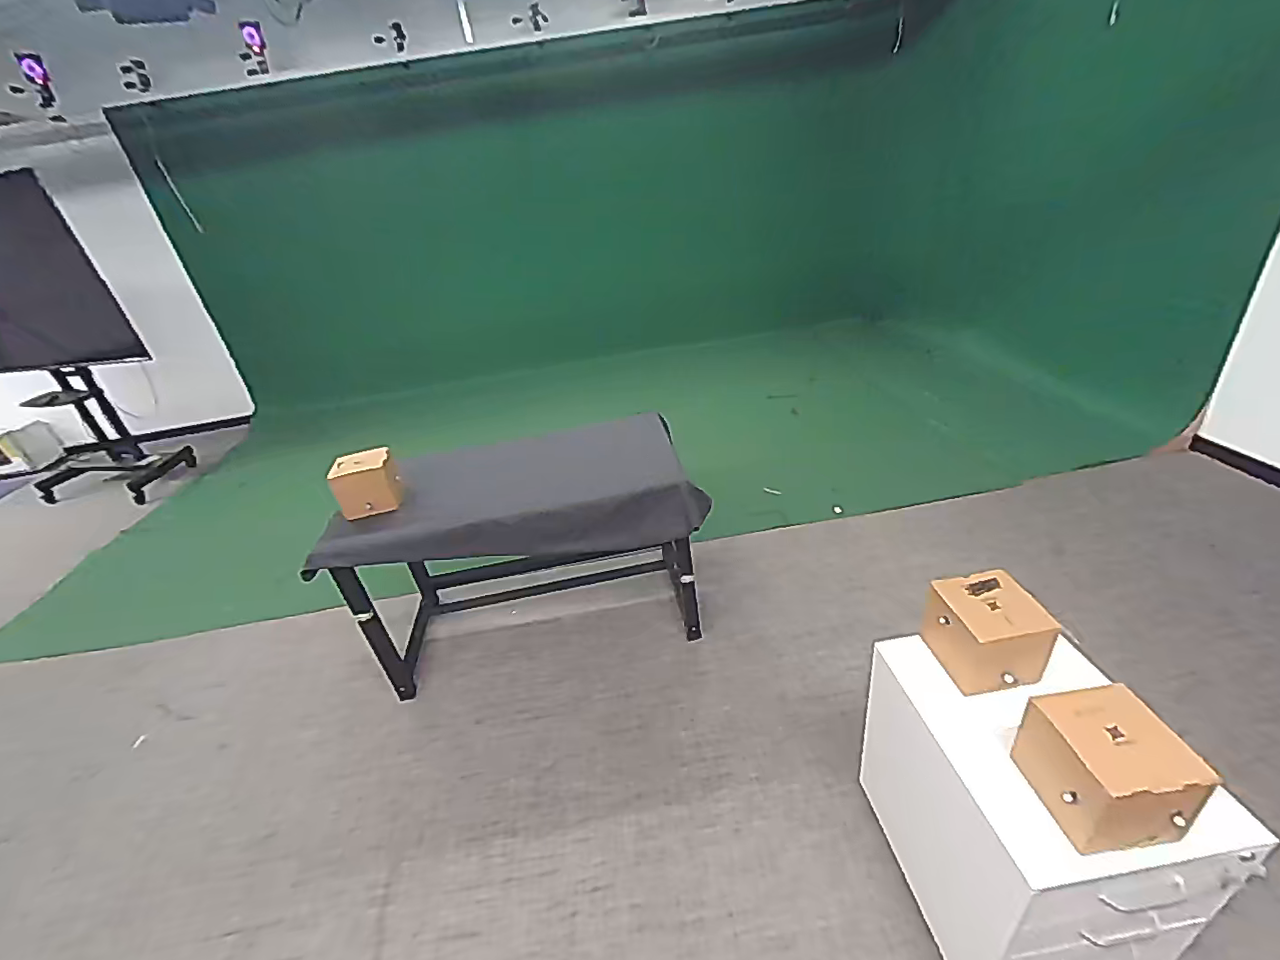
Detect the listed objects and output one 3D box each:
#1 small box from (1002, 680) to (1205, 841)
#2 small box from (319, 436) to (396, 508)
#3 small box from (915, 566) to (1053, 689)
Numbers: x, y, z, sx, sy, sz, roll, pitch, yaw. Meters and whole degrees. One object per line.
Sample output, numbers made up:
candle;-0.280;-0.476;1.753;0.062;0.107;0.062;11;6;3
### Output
small box;0.749;0.468;0.899;0.168;0.176;0.179;-7;29;-2
small box;-0.951;-0.028;1.837;0.179;0.176;0.168;-12;31;-10
small box;0.717;0.314;1.153;0.168;0.176;0.179;-9;33;-2
